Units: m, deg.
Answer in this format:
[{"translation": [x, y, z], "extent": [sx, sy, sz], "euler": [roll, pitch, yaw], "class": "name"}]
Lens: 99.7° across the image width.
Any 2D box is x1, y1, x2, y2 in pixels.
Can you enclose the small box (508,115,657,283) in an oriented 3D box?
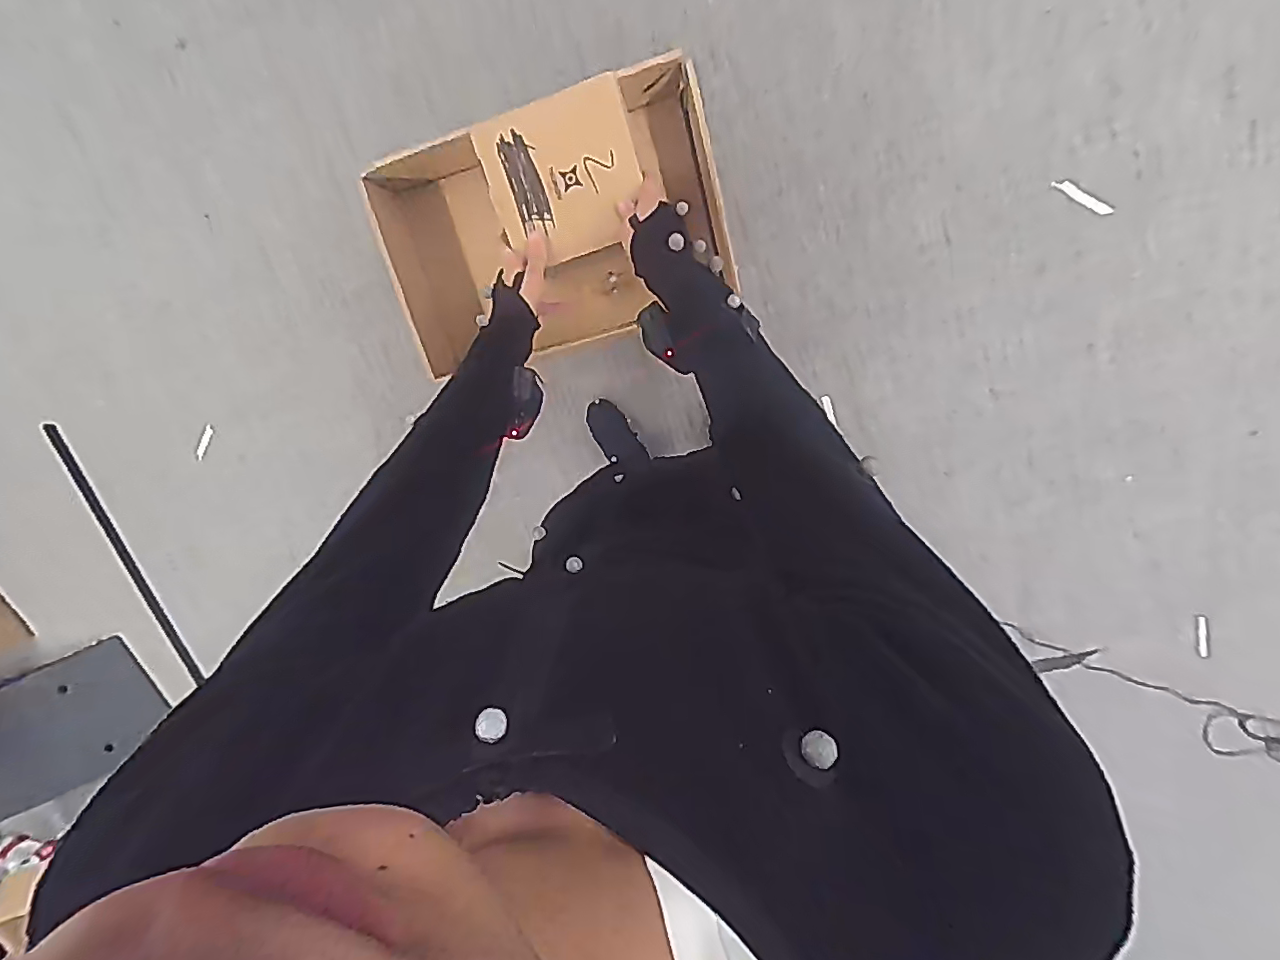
[{"translation": [-0.078, -0.420, 0.842], "extent": [0.168, 0.176, 0.179], "euler": [-14, 106, 12], "class": "small box"}]
